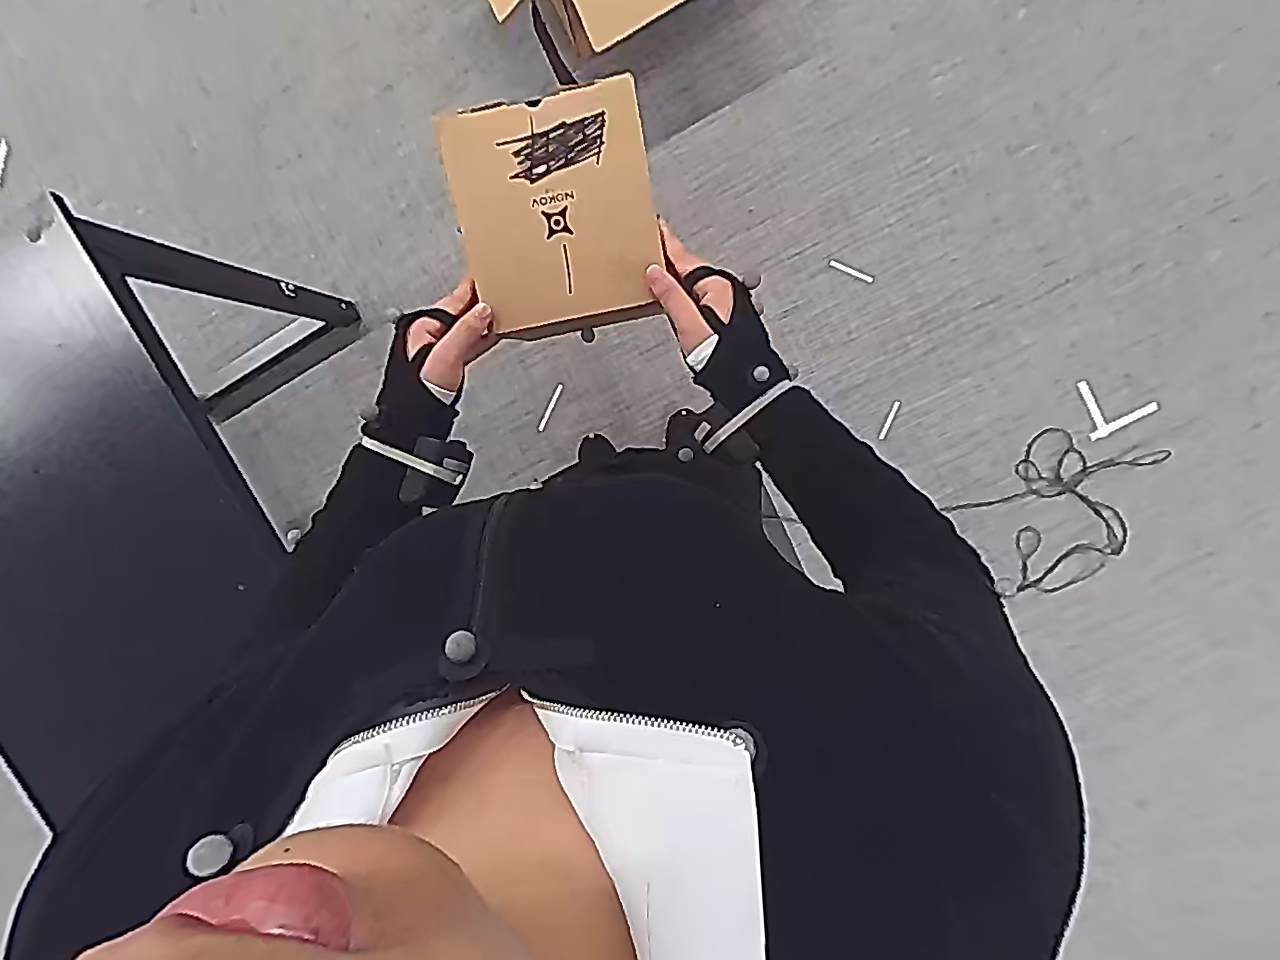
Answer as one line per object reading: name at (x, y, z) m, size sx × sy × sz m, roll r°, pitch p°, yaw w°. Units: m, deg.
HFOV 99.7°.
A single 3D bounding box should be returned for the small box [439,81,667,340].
small box at (-0.071, -0.243, 0.534) m, size 0.168 × 0.176 × 0.179 m, roll -11°, pitch 103°, yaw 3°
